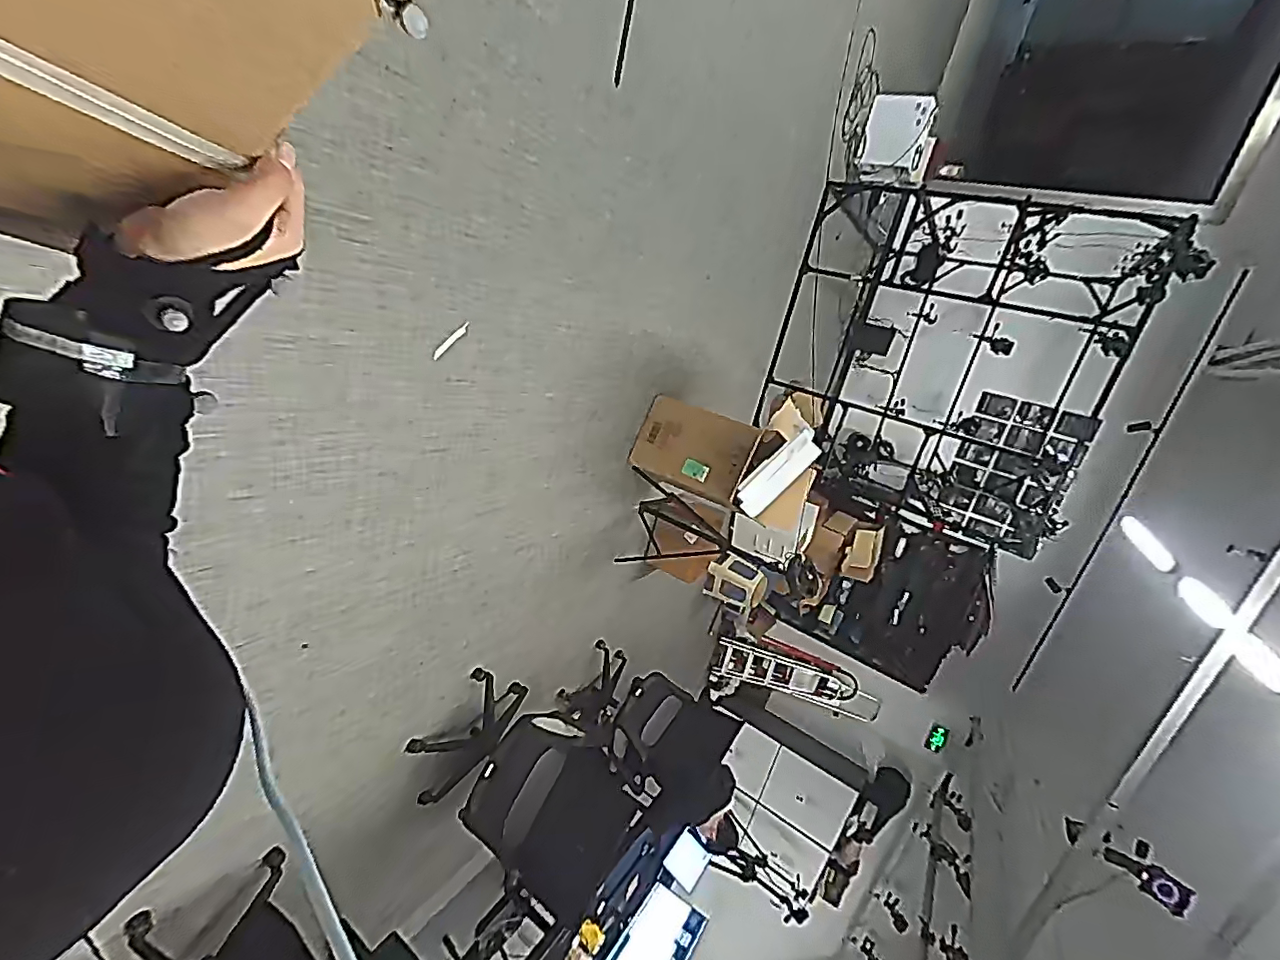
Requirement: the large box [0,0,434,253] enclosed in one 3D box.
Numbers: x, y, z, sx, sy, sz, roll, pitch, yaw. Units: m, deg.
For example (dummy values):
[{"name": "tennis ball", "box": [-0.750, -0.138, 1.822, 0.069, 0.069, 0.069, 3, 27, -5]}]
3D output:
[{"name": "large box", "box": [-0.323, -0.348, 0.164, 0.408, 0.320, 0.320, 6, 74, -58]}]
